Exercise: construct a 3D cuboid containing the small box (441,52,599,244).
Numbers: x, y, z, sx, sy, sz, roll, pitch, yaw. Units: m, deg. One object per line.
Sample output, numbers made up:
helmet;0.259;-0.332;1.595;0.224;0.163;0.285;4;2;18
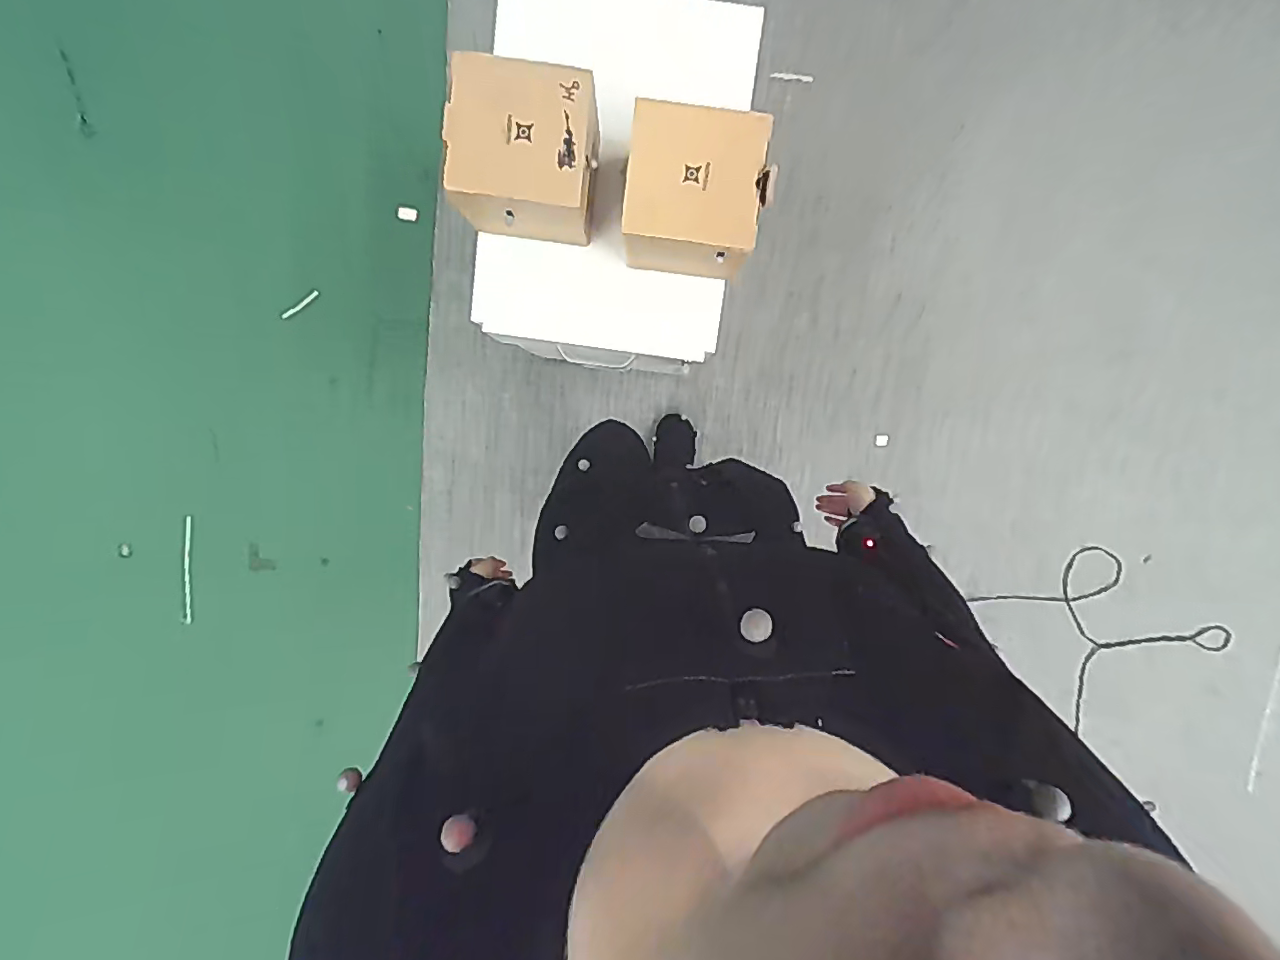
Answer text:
small box;-0.156;-0.444;0.751;0.179;0.176;0.168;7;98;-2
